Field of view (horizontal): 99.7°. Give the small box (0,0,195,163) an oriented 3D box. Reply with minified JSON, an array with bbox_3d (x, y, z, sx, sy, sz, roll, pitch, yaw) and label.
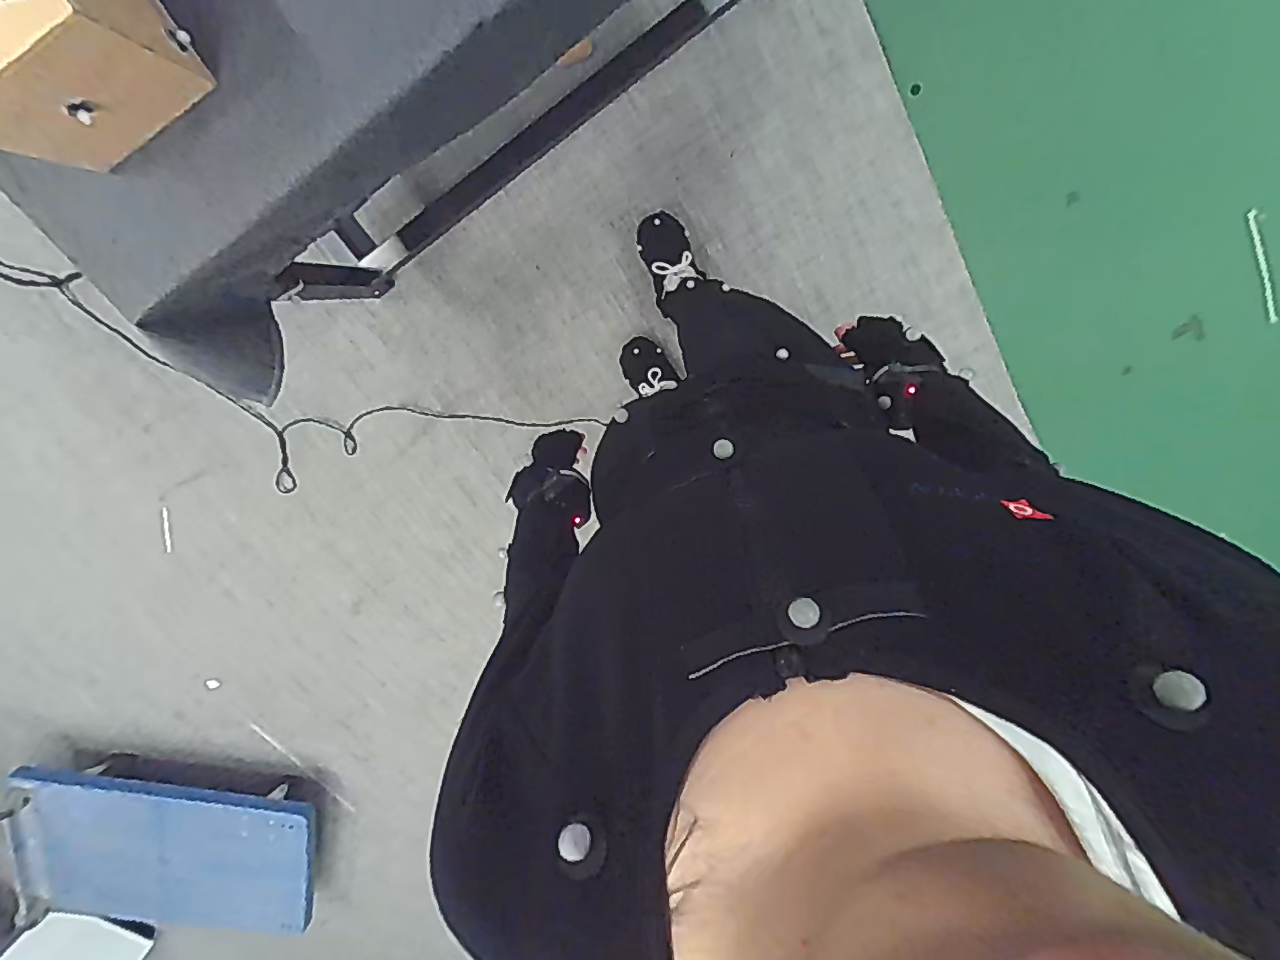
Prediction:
[{"bbox_3d":[-0.571,-0.431,0.498,0.179,0.176,0.168,-30,107,8],"label":"small box"}]
